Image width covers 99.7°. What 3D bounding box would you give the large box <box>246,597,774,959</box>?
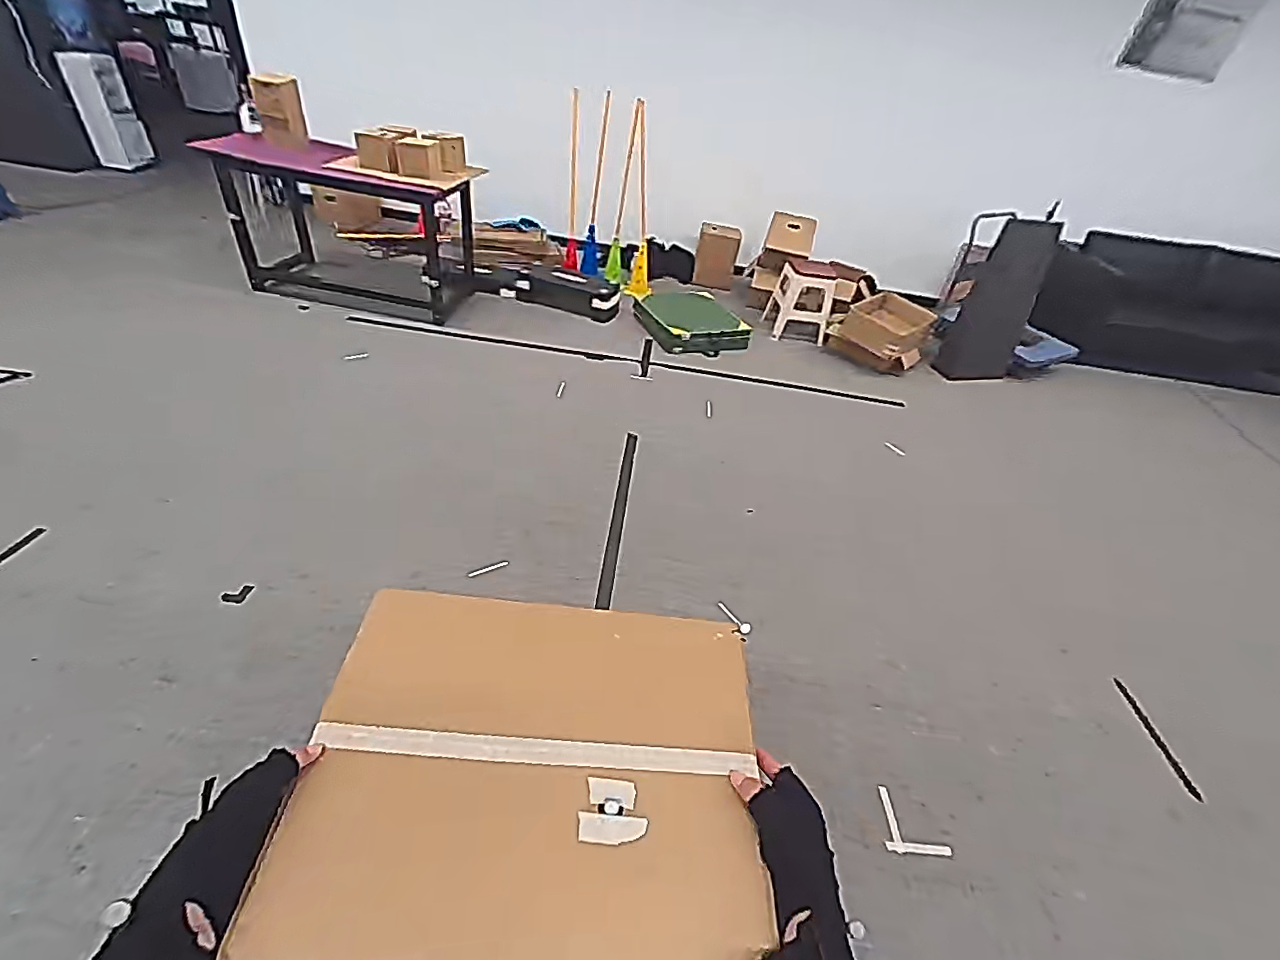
[{"bbox_3d":[-0.110,0.362,0.612,0.408,0.320,0.320,7,45,-5],"label":"large box"}]
